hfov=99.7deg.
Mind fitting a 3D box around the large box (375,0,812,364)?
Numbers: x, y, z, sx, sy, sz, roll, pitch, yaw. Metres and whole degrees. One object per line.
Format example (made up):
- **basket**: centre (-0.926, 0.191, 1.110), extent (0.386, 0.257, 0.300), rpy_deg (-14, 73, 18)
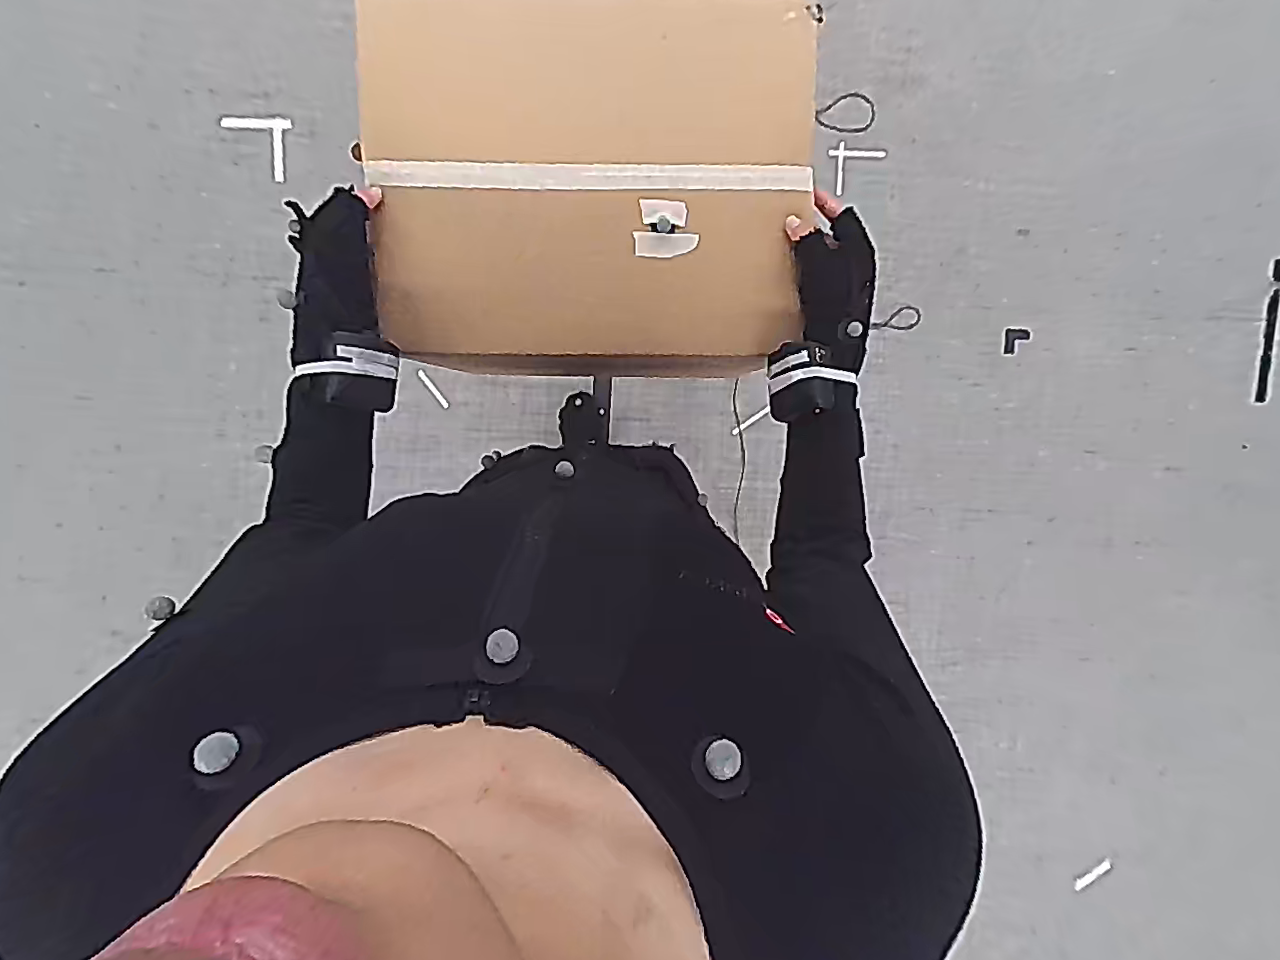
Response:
- **large box**: centre (-0.046, -0.311, 0.655), extent (0.408, 0.320, 0.320), rpy_deg (0, 99, -2)
